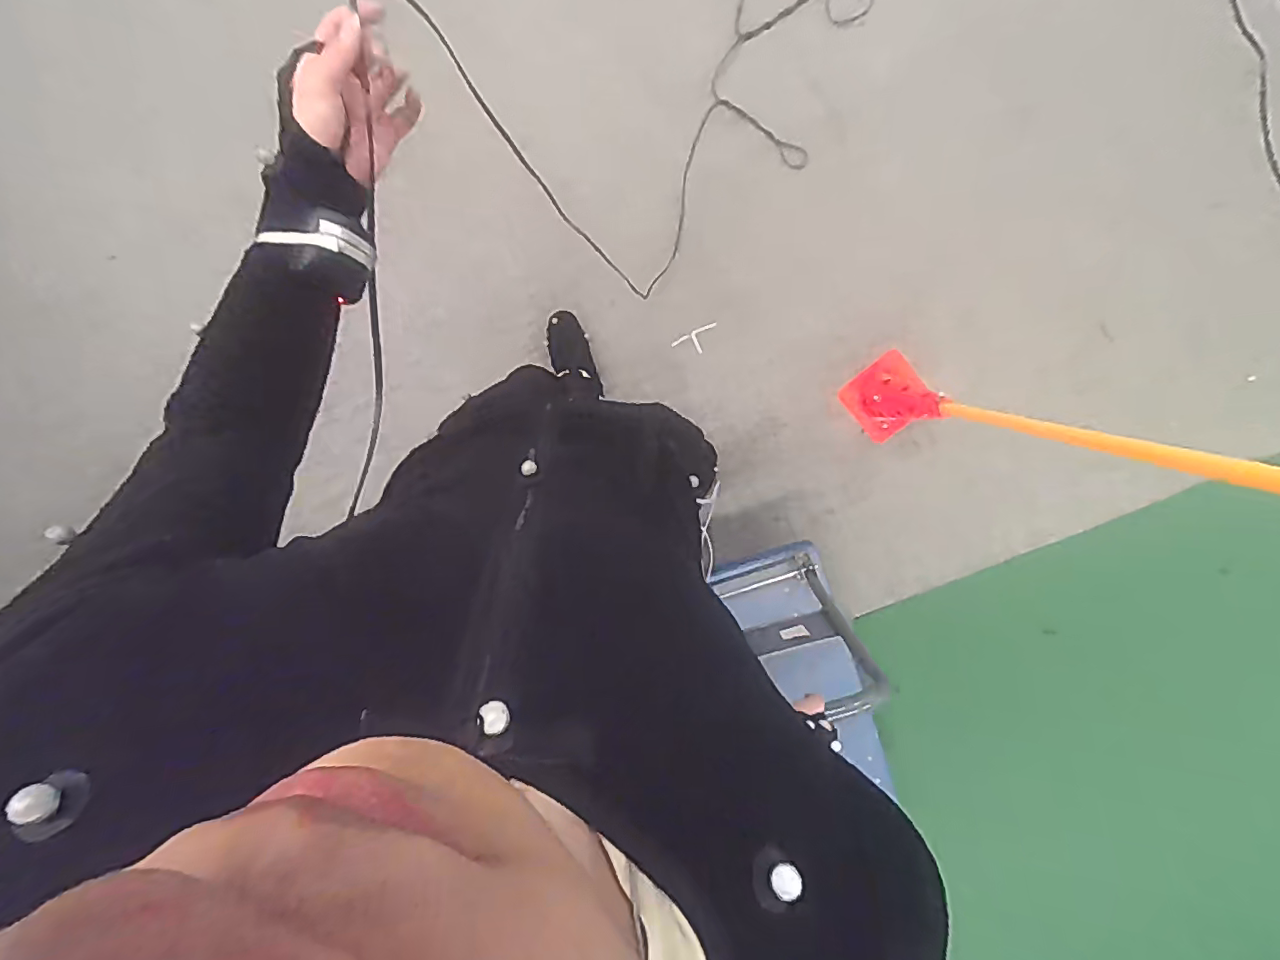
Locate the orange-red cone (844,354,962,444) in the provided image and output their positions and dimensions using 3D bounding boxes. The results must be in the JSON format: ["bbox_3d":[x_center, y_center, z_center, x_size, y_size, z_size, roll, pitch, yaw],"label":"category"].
[{"bbox_3d":[0.688,-0.187,1.341,0.199,0.360,0.198,-39,98,9],"label":"orange-red cone"}]
